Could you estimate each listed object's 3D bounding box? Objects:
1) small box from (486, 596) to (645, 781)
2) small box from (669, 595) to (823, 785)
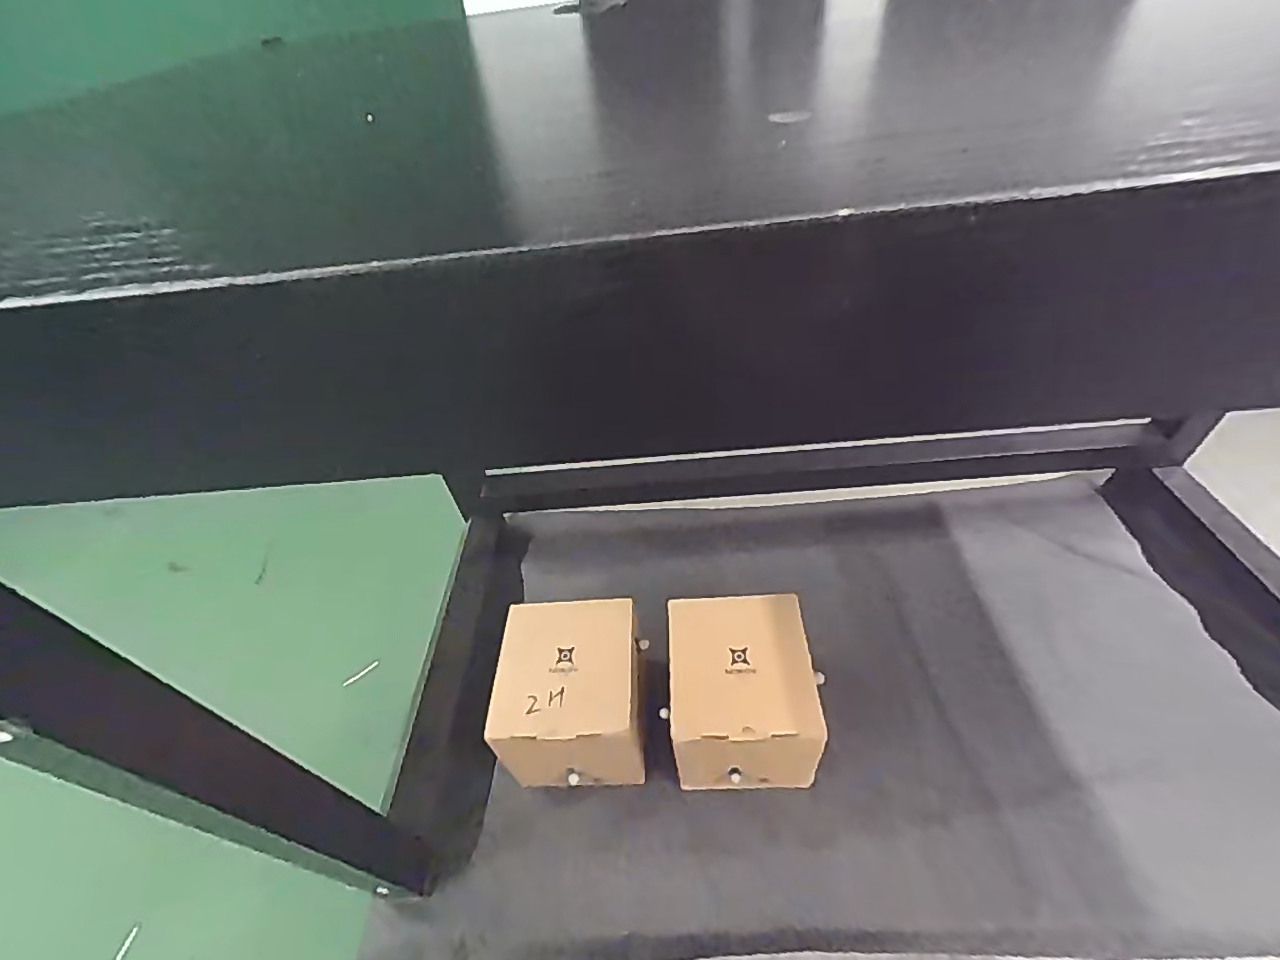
[{"bbox_3d":[-0.084,0.274,0.713,0.168,0.176,0.179,-4,44,5],"label":"small box"},{"bbox_3d":[0.122,0.268,0.693,0.168,0.176,0.179,-3,45,5],"label":"small box"}]
